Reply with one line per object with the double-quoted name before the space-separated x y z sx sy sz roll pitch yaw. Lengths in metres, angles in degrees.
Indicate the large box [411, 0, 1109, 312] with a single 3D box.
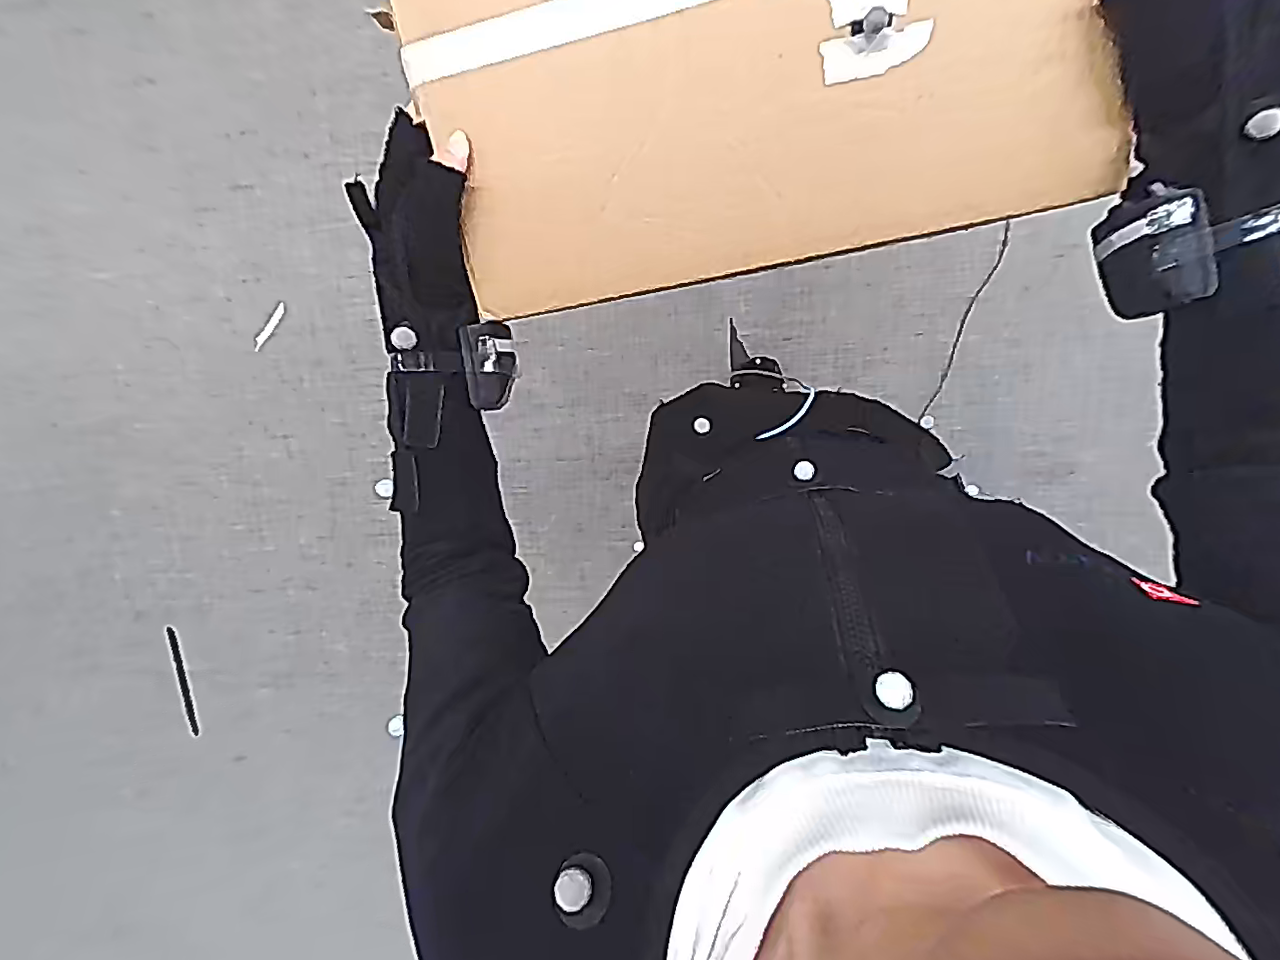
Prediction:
"large box" 0.070 -0.346 0.455 0.408 0.320 0.320 -9 109 9
